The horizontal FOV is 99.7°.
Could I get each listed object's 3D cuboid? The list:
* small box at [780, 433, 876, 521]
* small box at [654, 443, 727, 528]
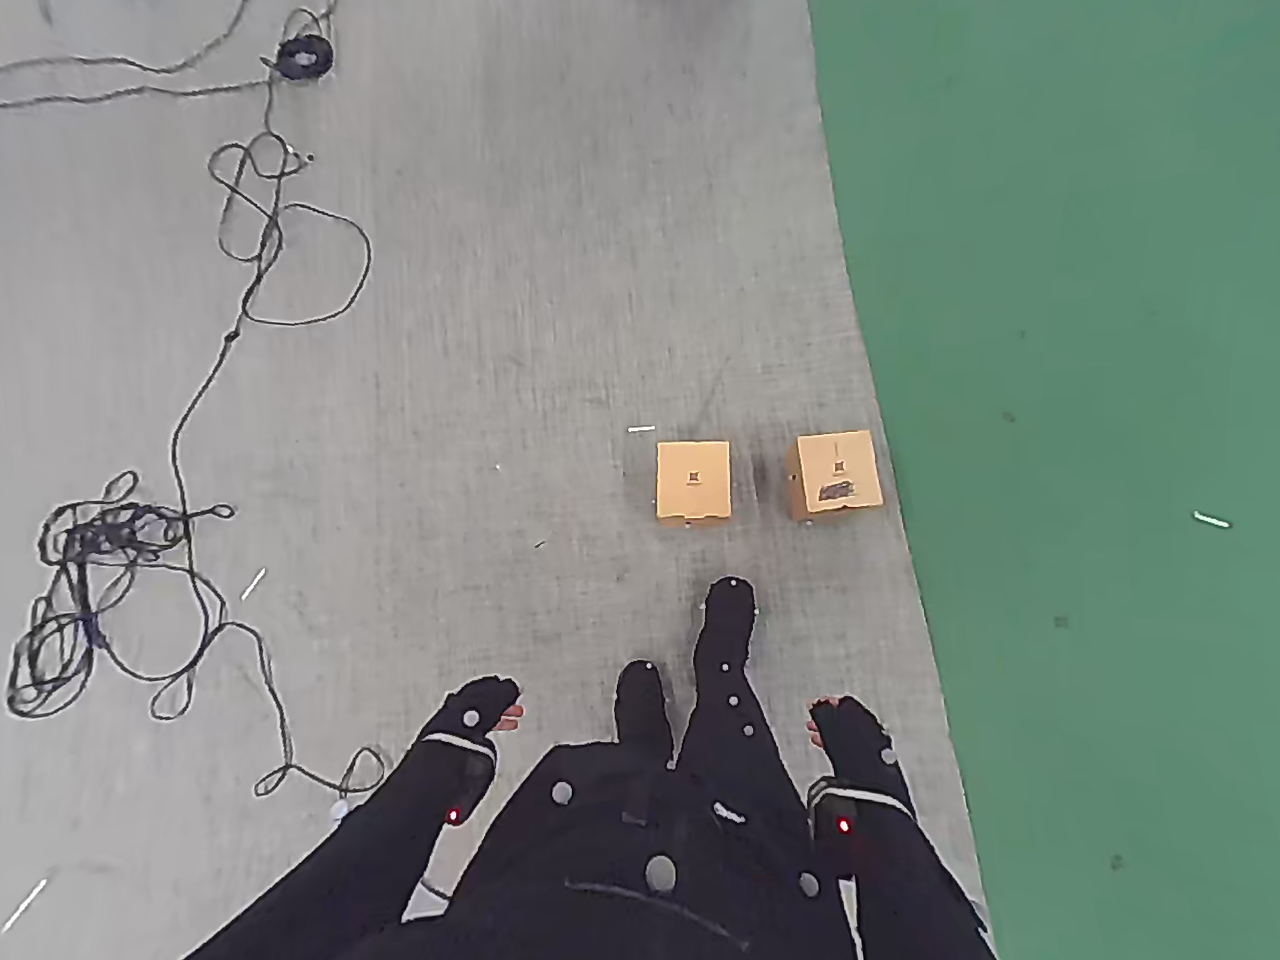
[{"bbox_3d":[0.437,0.001,1.282,0.168,0.176,0.179,-5,77,3],"label":"small box"},{"bbox_3d":[0.119,0.019,1.300,0.168,0.176,0.179,0,78,4],"label":"small box"}]
